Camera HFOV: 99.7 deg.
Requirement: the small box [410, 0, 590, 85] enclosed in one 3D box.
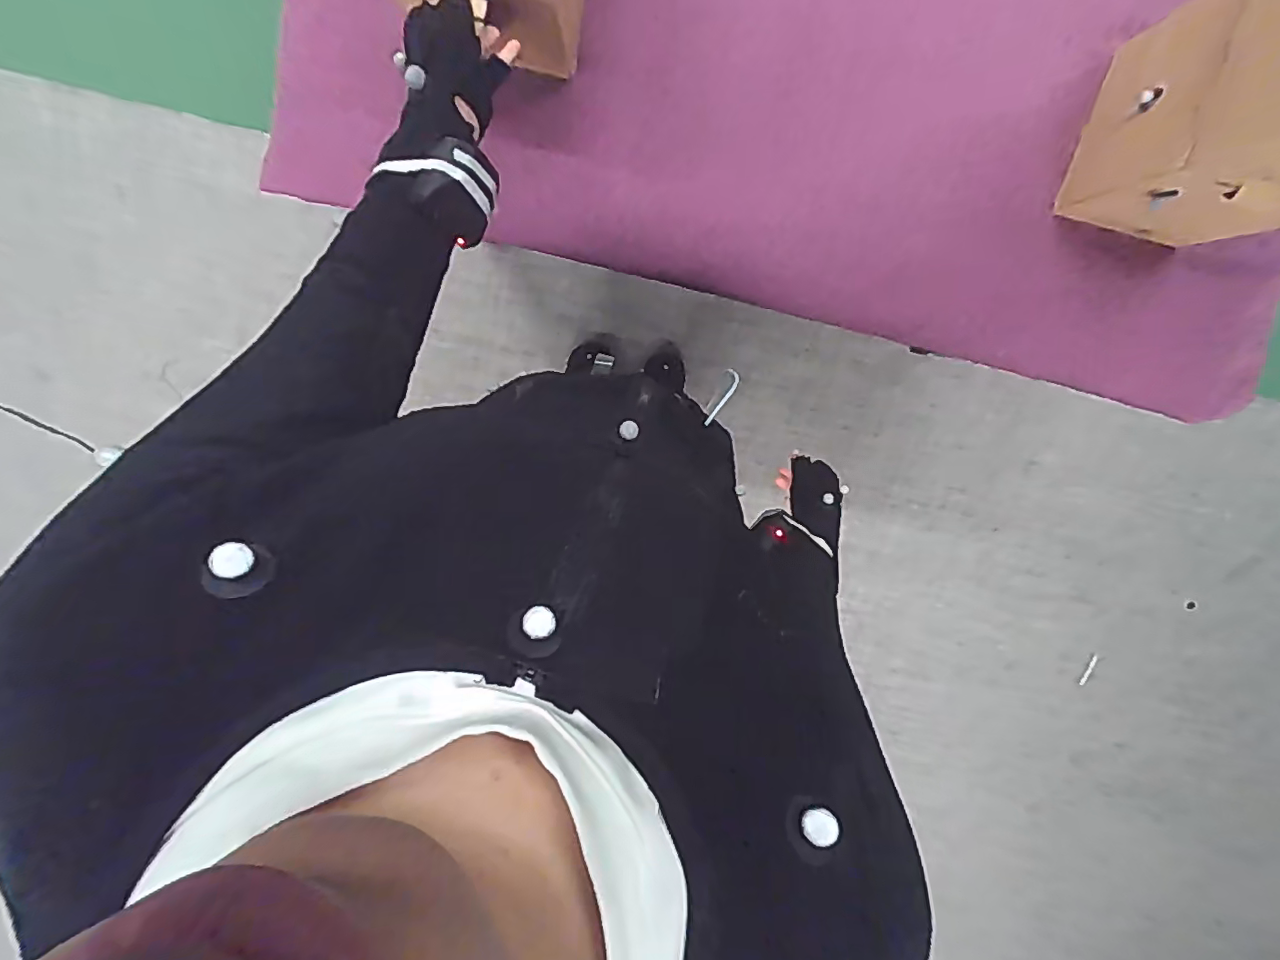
[{"bbox_3d":[-0.135,-0.530,0.521,0.168,0.176,0.179,11,106,-3],"label":"small box"}]
